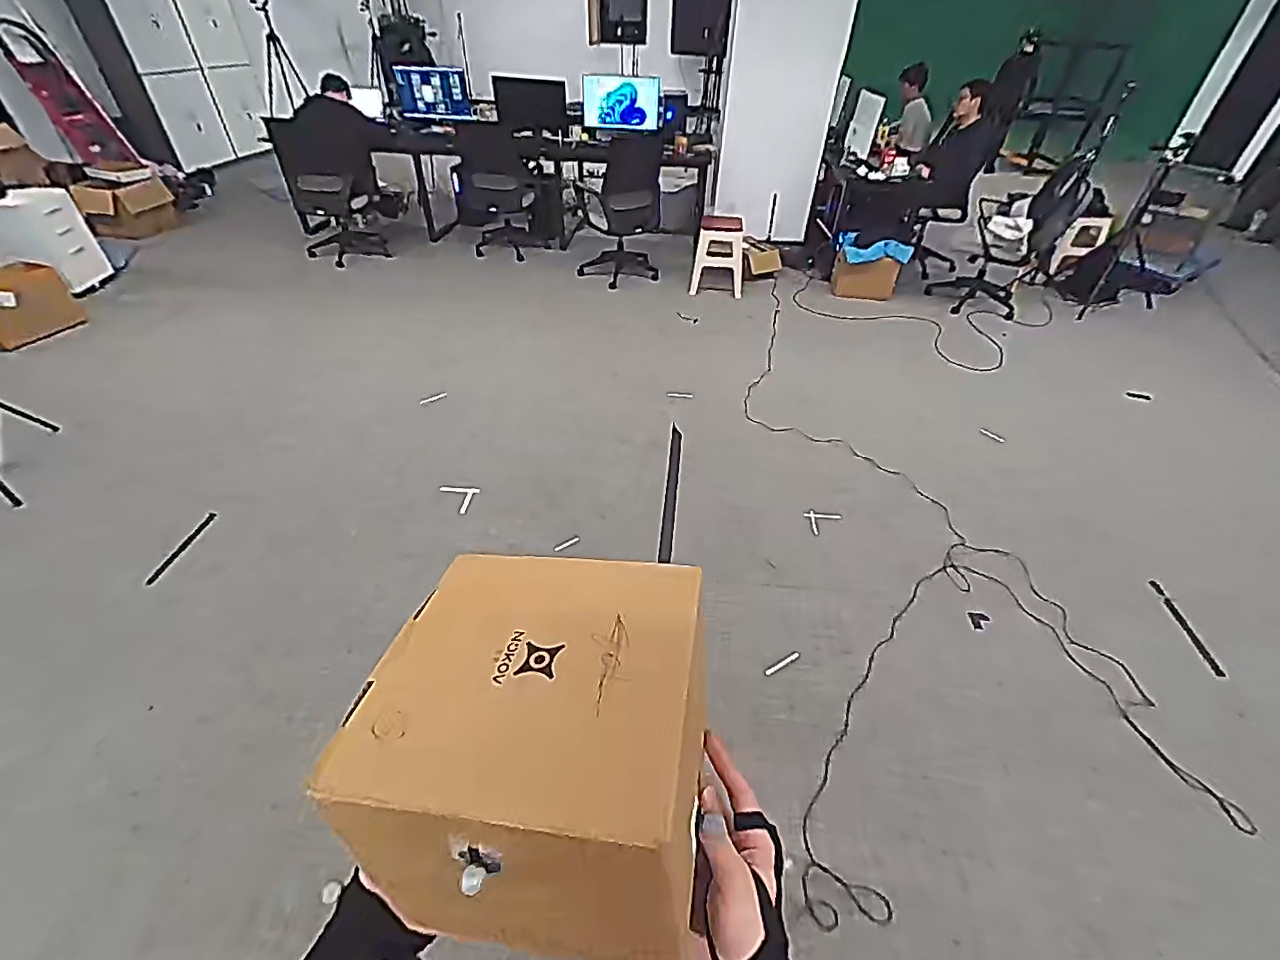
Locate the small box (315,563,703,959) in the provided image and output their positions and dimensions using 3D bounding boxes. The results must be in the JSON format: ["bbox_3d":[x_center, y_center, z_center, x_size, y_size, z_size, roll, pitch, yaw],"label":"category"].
[{"bbox_3d":[-0.054,0.174,0.353,0.179,0.176,0.168,1,33,11],"label":"small box"}]
